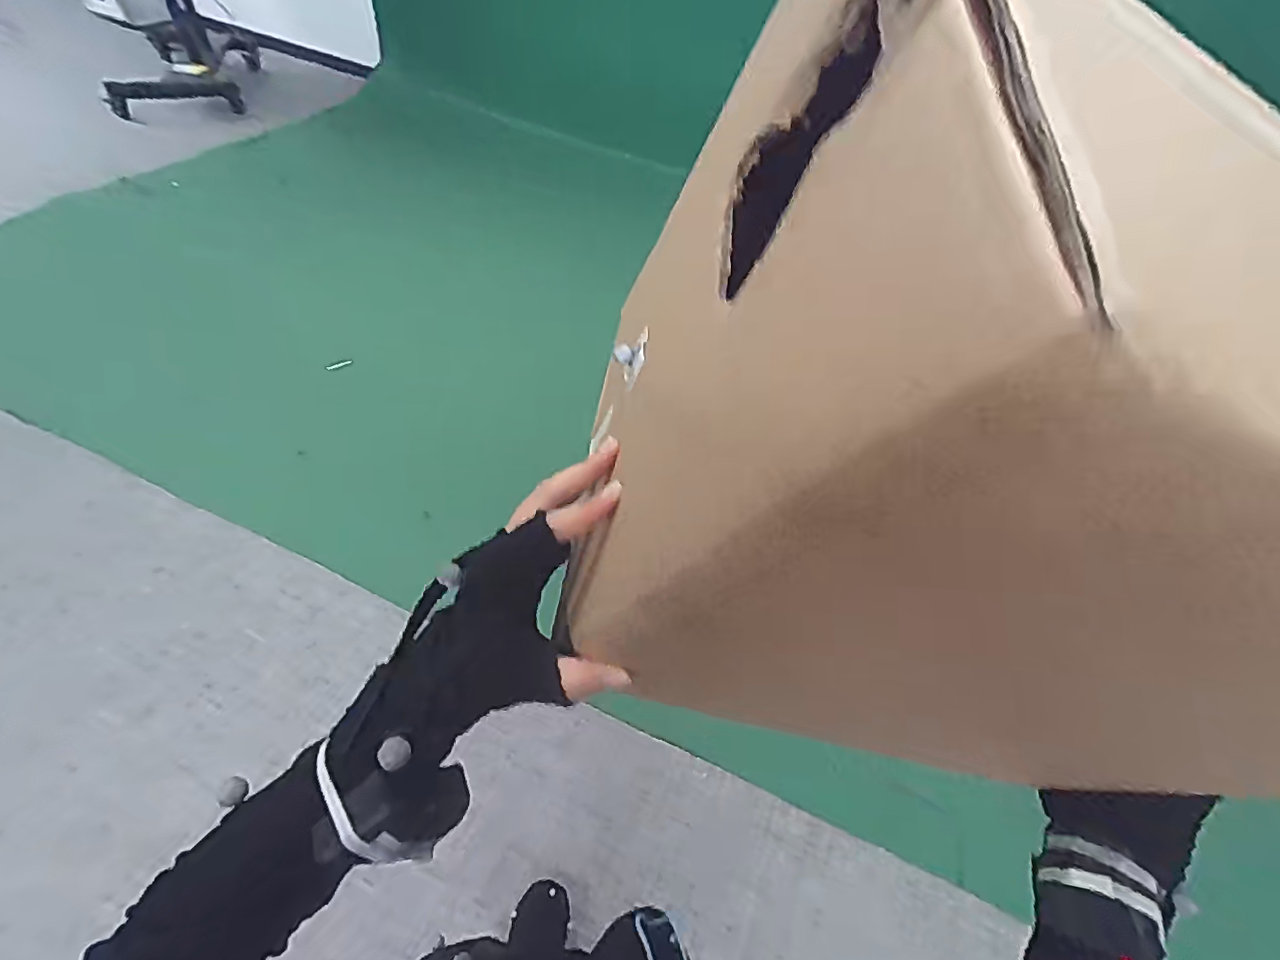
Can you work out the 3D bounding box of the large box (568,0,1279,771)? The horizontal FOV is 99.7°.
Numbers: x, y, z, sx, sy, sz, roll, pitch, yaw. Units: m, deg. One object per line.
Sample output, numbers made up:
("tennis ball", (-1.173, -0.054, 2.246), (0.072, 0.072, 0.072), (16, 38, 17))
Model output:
("large box", (0.208, -0.021, 0.333), (0.408, 0.320, 0.320), (19, 58, -16))
